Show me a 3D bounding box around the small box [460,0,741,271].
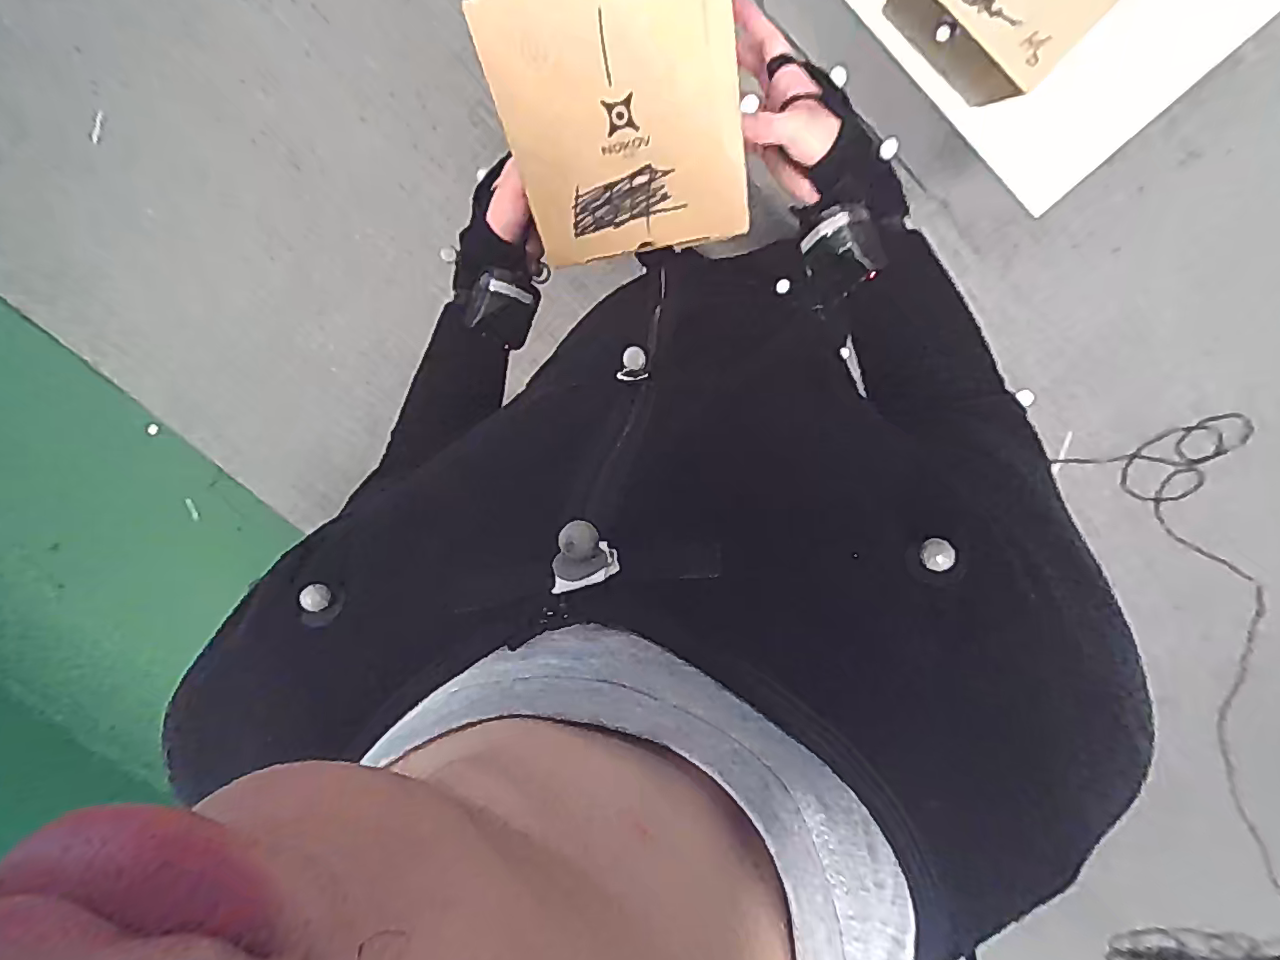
[{"bbox_3d":[-0.010,-0.300,0.434,0.168,0.176,0.179,-7,133,12],"label":"small box"}]

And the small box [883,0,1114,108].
[{"bbox_3d":[0.375,-0.515,0.536,0.168,0.176,0.179,38,119,-8],"label":"small box"}]
